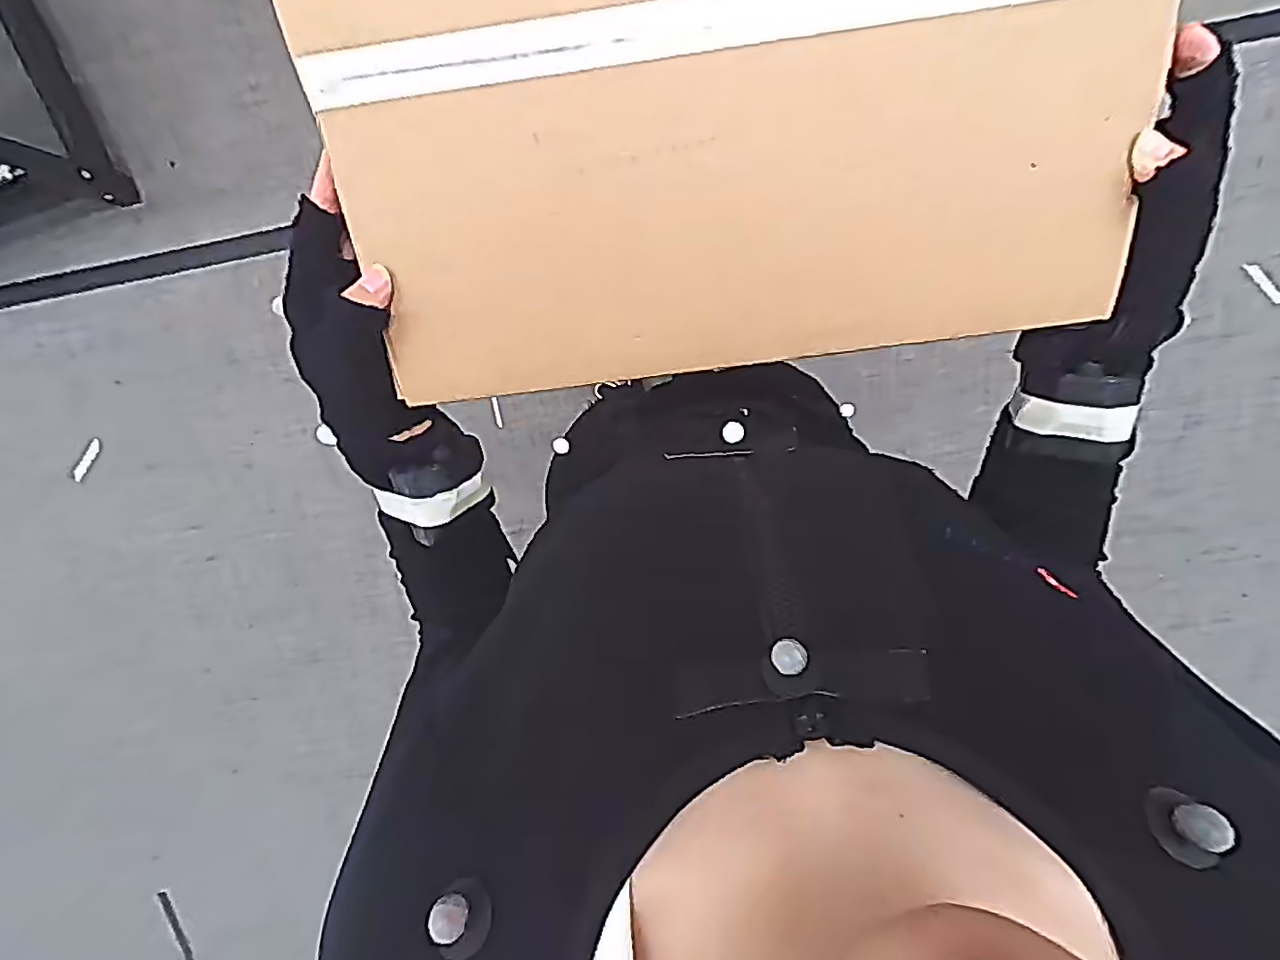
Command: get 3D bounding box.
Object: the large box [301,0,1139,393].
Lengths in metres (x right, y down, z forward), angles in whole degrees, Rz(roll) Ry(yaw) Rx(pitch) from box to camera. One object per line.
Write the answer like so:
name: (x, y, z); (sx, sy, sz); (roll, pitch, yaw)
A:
large box: (0.036, -0.274, 0.400); (0.408, 0.320, 0.320); (-7, 113, 2)
